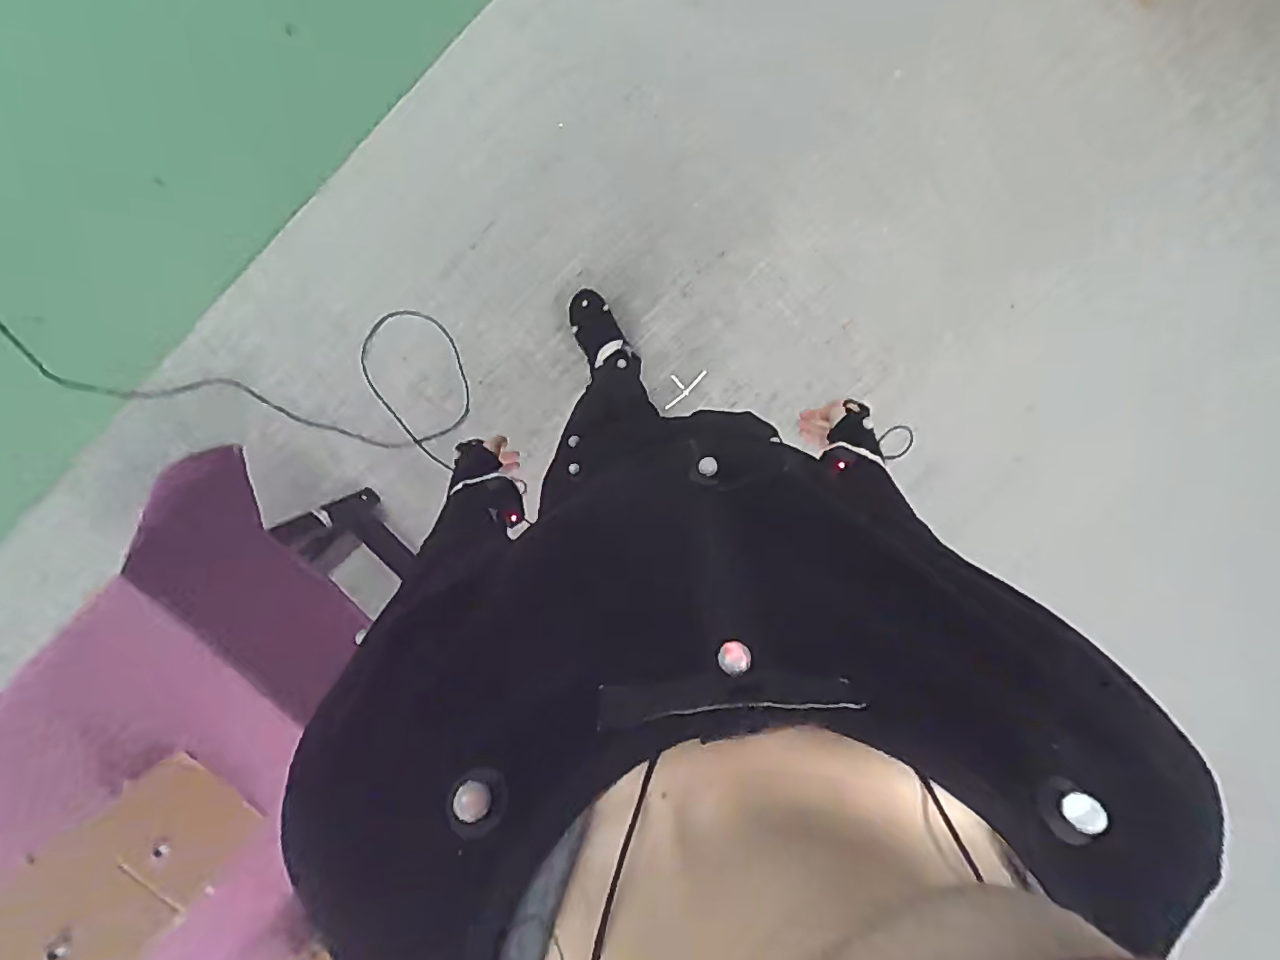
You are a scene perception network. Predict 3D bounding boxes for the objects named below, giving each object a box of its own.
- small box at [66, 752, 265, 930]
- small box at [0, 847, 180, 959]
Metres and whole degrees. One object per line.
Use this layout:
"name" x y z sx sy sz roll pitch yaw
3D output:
"small box" -0.706 0.545 0.785 0.168 0.176 0.179 -41 98 7
"small box" -0.709 0.572 0.624 0.168 0.176 0.179 -41 99 7
